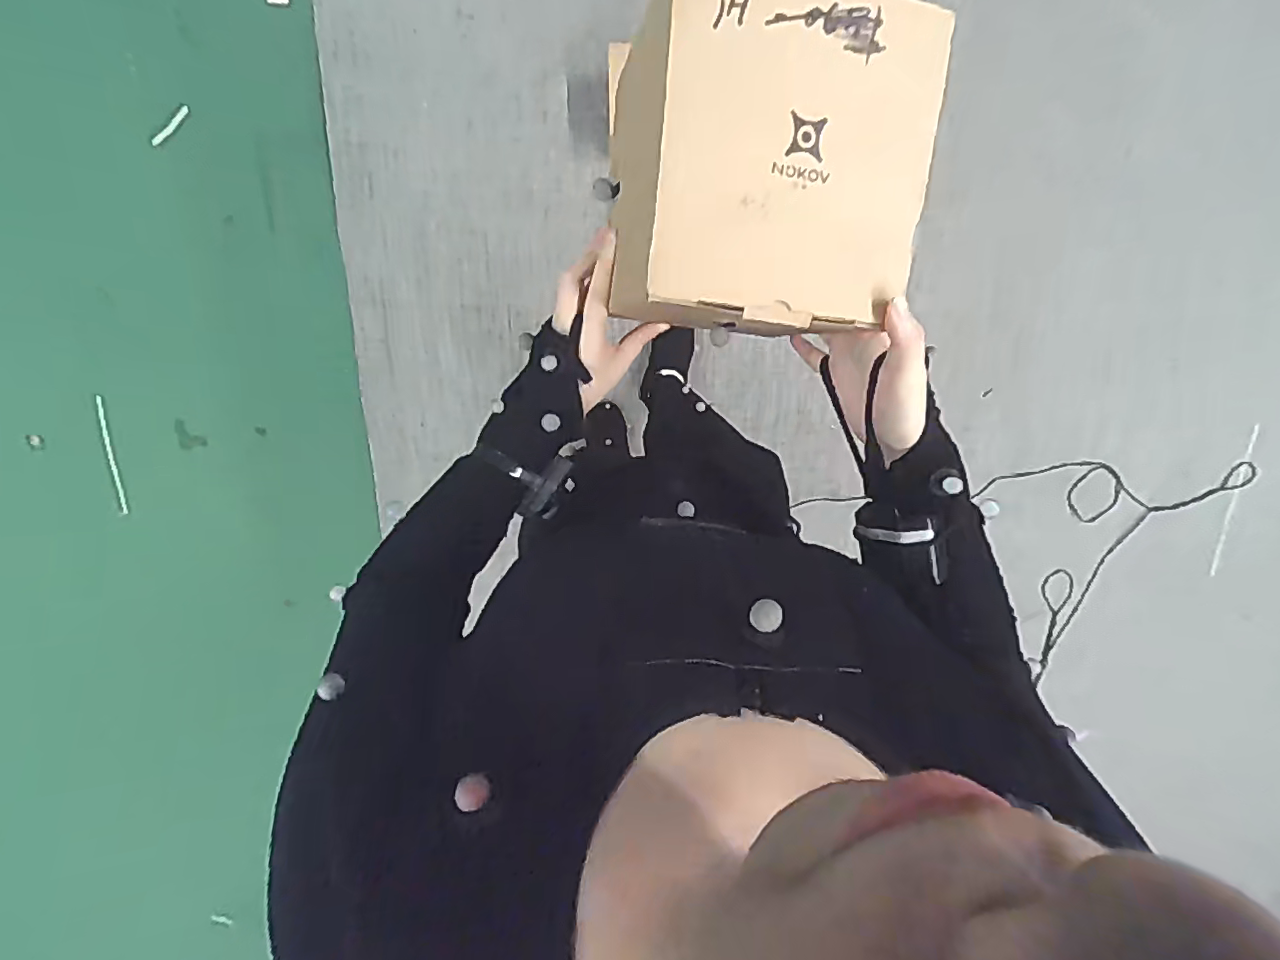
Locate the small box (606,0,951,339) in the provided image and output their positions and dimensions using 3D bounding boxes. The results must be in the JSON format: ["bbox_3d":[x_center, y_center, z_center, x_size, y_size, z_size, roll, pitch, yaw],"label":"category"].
[{"bbox_3d":[0.073,-0.198,0.384,0.168,0.176,0.179,2,103,-15],"label":"small box"}]
